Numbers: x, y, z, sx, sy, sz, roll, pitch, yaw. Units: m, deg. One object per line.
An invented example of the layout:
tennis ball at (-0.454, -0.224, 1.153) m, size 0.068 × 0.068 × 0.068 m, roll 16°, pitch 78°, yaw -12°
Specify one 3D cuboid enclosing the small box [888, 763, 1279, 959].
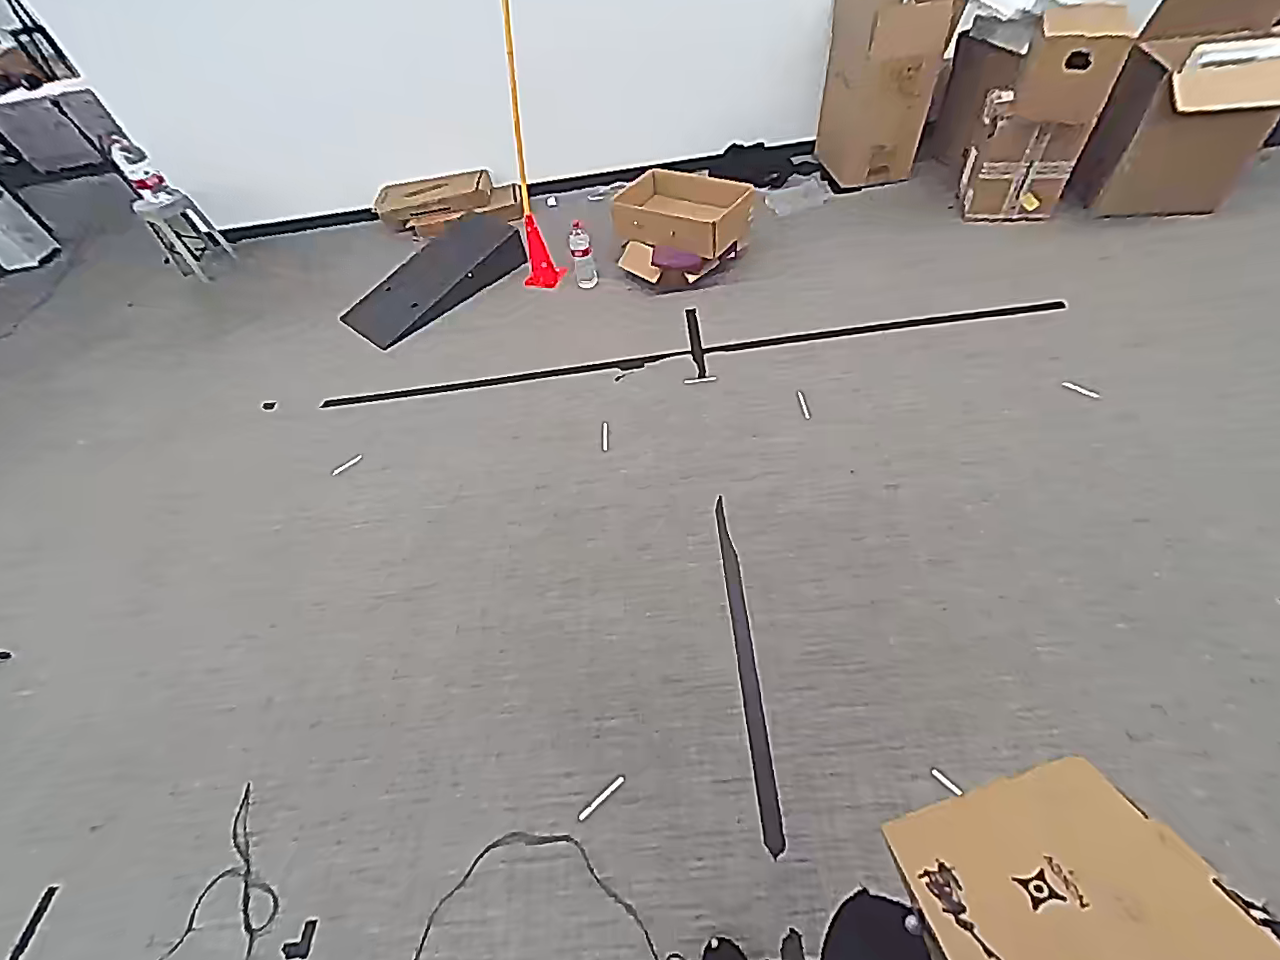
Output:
small box at (0.322, 0.359, 0.400) m, size 0.179 × 0.176 × 0.168 m, roll -22°, pitch 14°, yaw 5°
